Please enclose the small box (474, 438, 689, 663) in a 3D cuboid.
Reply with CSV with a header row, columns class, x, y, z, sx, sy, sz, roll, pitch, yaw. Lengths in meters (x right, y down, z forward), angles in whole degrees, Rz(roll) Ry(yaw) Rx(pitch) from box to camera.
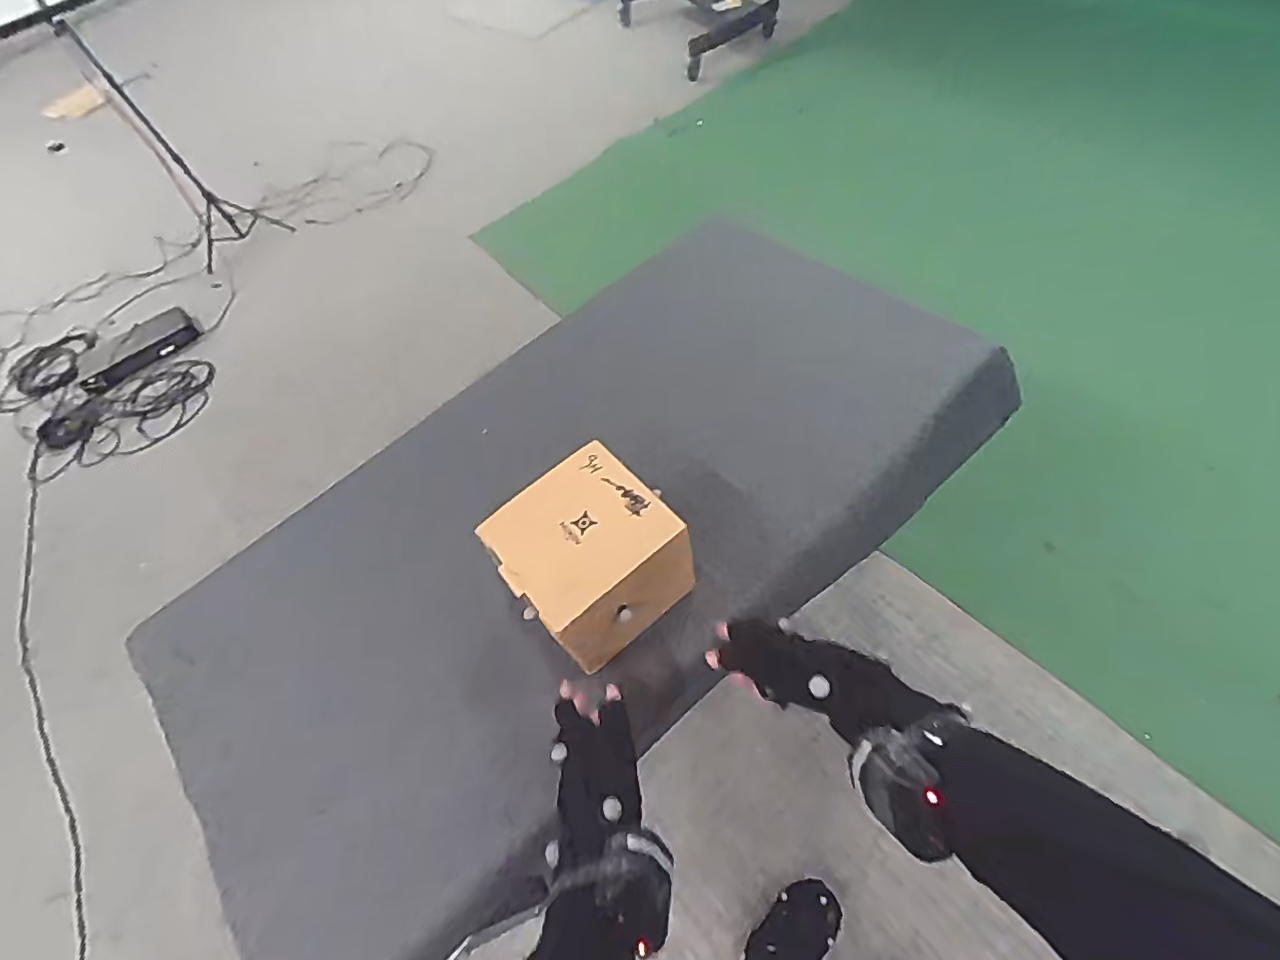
class,x,y,z,sx,sy,sz,roll,pitch,yaw
small box,-0.058,0.091,0.651,0.179,0.176,0.168,-39,60,-13
